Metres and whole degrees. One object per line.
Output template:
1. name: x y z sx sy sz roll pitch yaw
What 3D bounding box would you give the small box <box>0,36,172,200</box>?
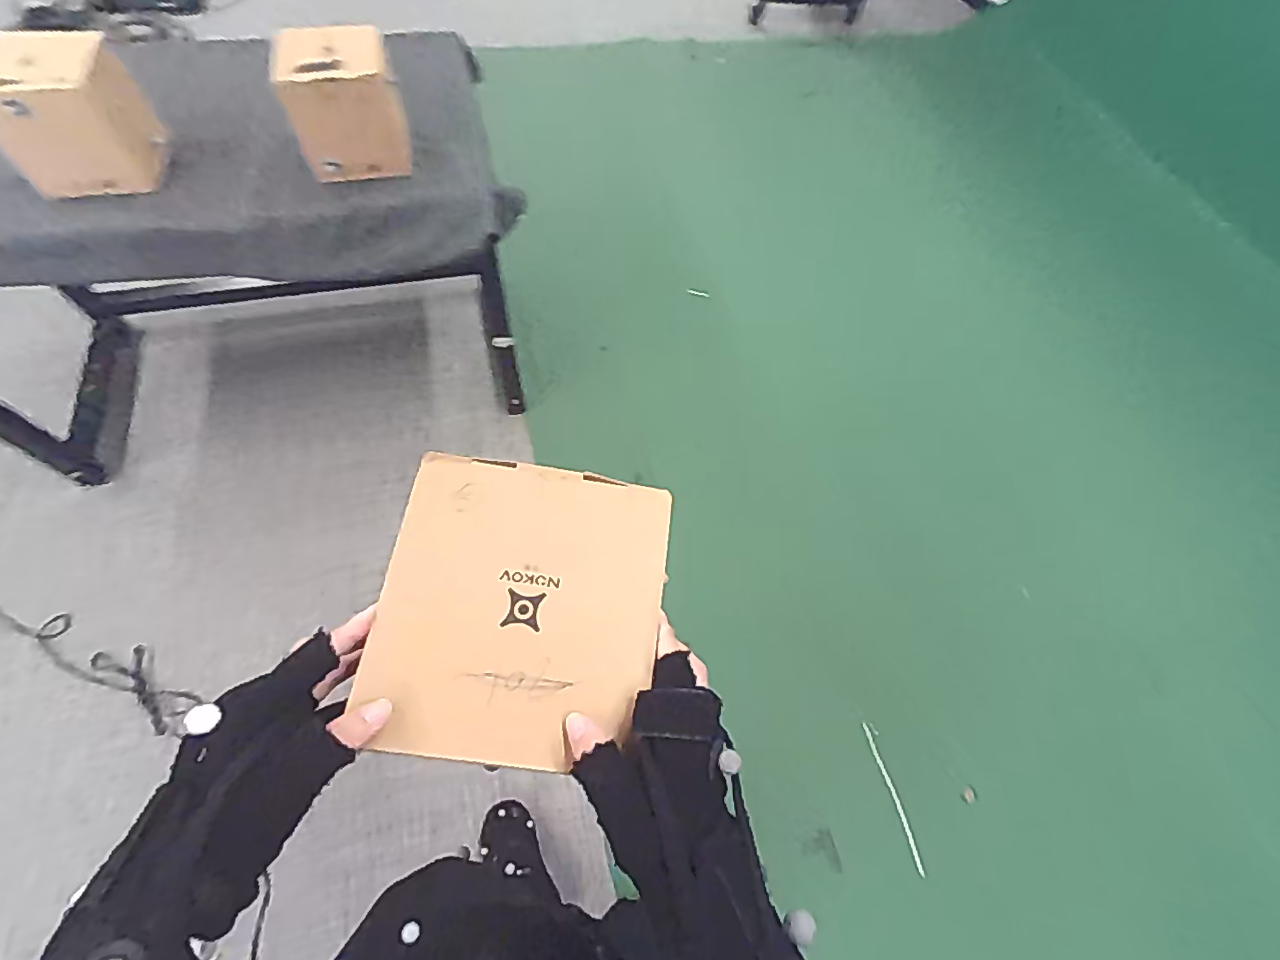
1. small box: -0.927 -0.596 0.894 0.168 0.176 0.179 -11 62 -11

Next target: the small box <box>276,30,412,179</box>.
1. small box: -0.517 -0.663 0.968 0.168 0.176 0.179 -11 61 -10
